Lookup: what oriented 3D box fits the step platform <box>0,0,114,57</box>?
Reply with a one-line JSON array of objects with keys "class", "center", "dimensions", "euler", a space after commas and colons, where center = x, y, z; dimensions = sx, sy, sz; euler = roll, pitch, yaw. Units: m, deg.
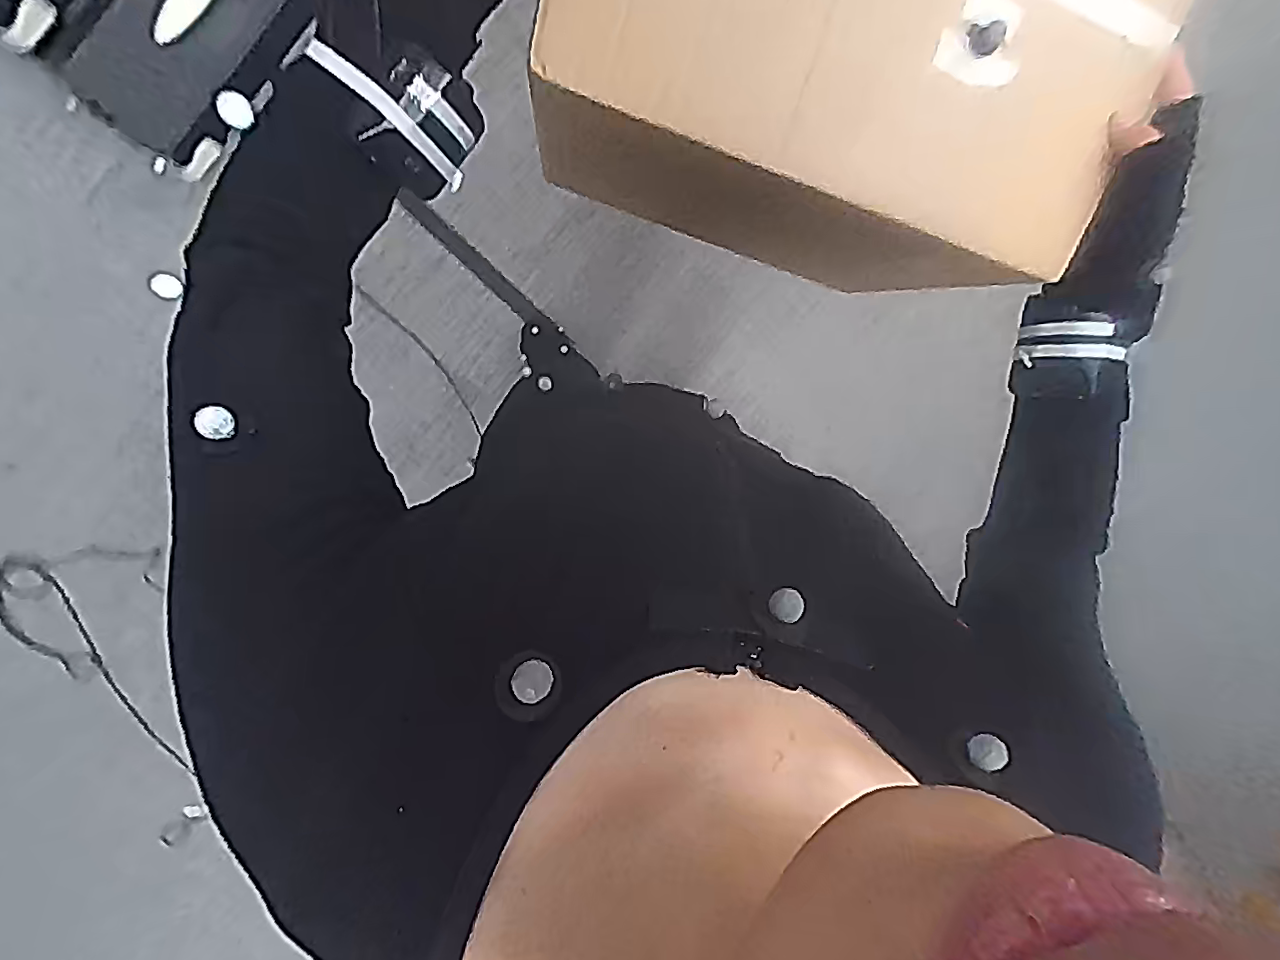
[{"class": "step platform", "center": [-1.095, -1.225, 1.048], "dimensions": [0.286, 0.204, 0.684], "euler": [39, 92, -12]}]
